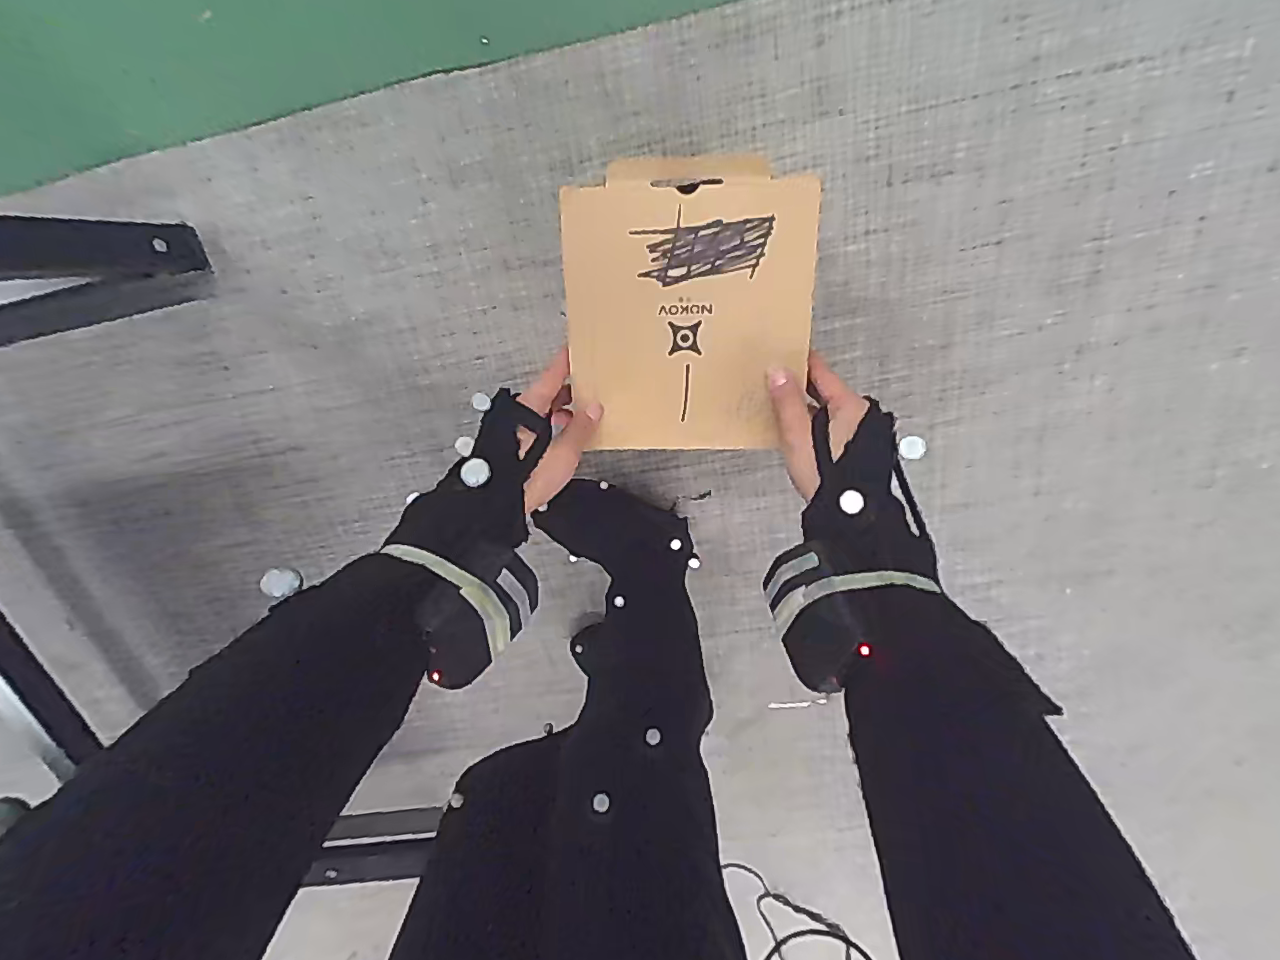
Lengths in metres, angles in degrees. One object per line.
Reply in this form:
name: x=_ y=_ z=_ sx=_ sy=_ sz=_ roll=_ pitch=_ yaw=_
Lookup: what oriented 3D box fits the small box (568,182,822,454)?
small box: x=0.041 y=-0.125 z=0.442 sx=0.168 sy=0.176 sz=0.179 roll=-1 pitch=107 yaw=5
